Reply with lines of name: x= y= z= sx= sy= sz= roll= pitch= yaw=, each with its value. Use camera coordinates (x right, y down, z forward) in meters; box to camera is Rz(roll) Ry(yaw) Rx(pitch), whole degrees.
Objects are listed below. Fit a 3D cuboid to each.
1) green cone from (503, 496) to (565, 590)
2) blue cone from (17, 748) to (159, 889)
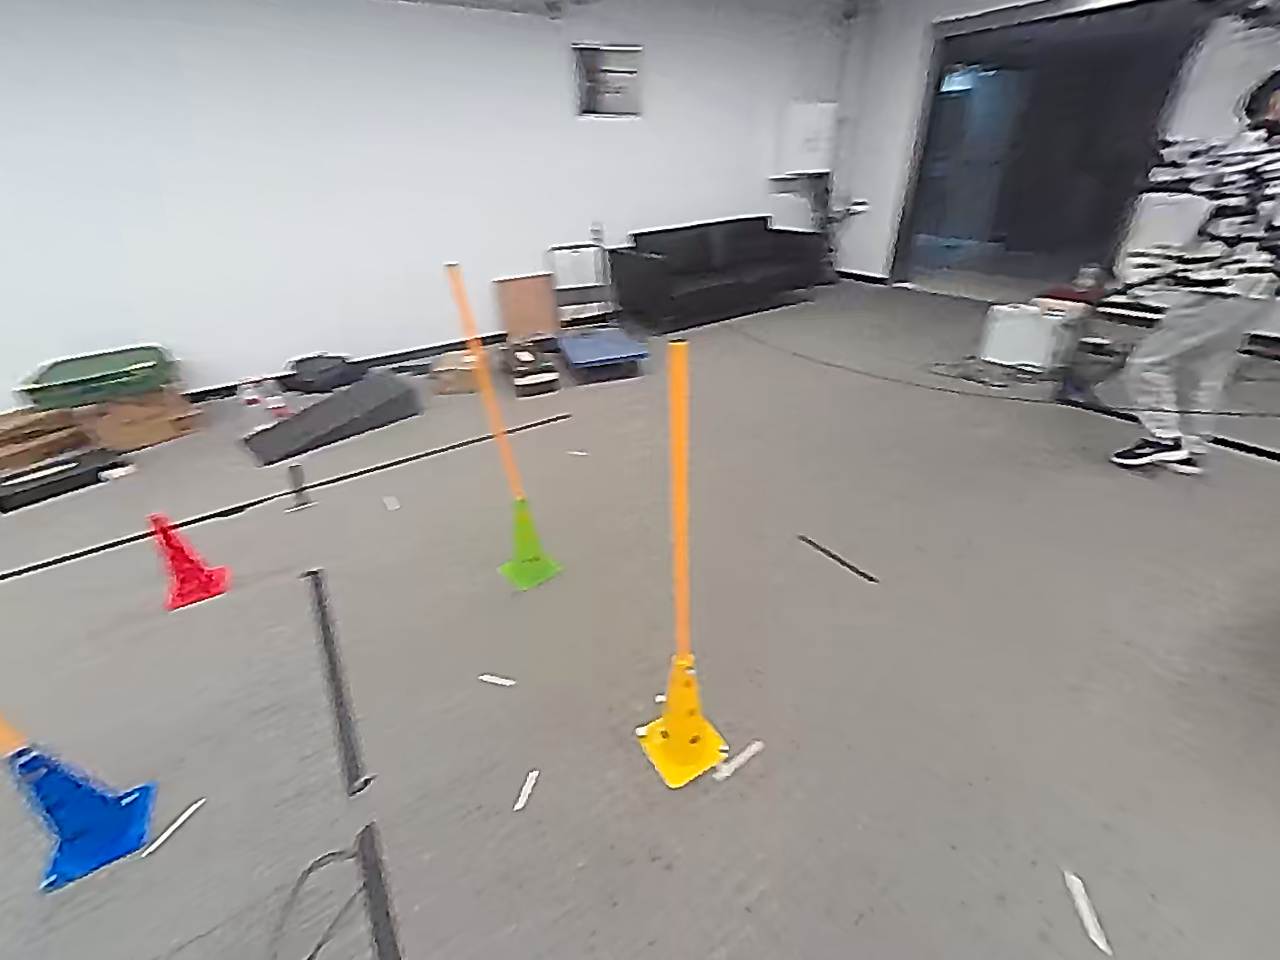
green cone: x=-0.443 y=0.222 z=2.151 sx=0.200 sy=0.368 sz=0.202 roll=-27 pitch=40 yaw=-35
blue cone: x=-1.363 y=0.770 z=1.305 sx=0.193 sy=0.380 sz=0.192 roll=-18 pitch=34 yaw=-25
